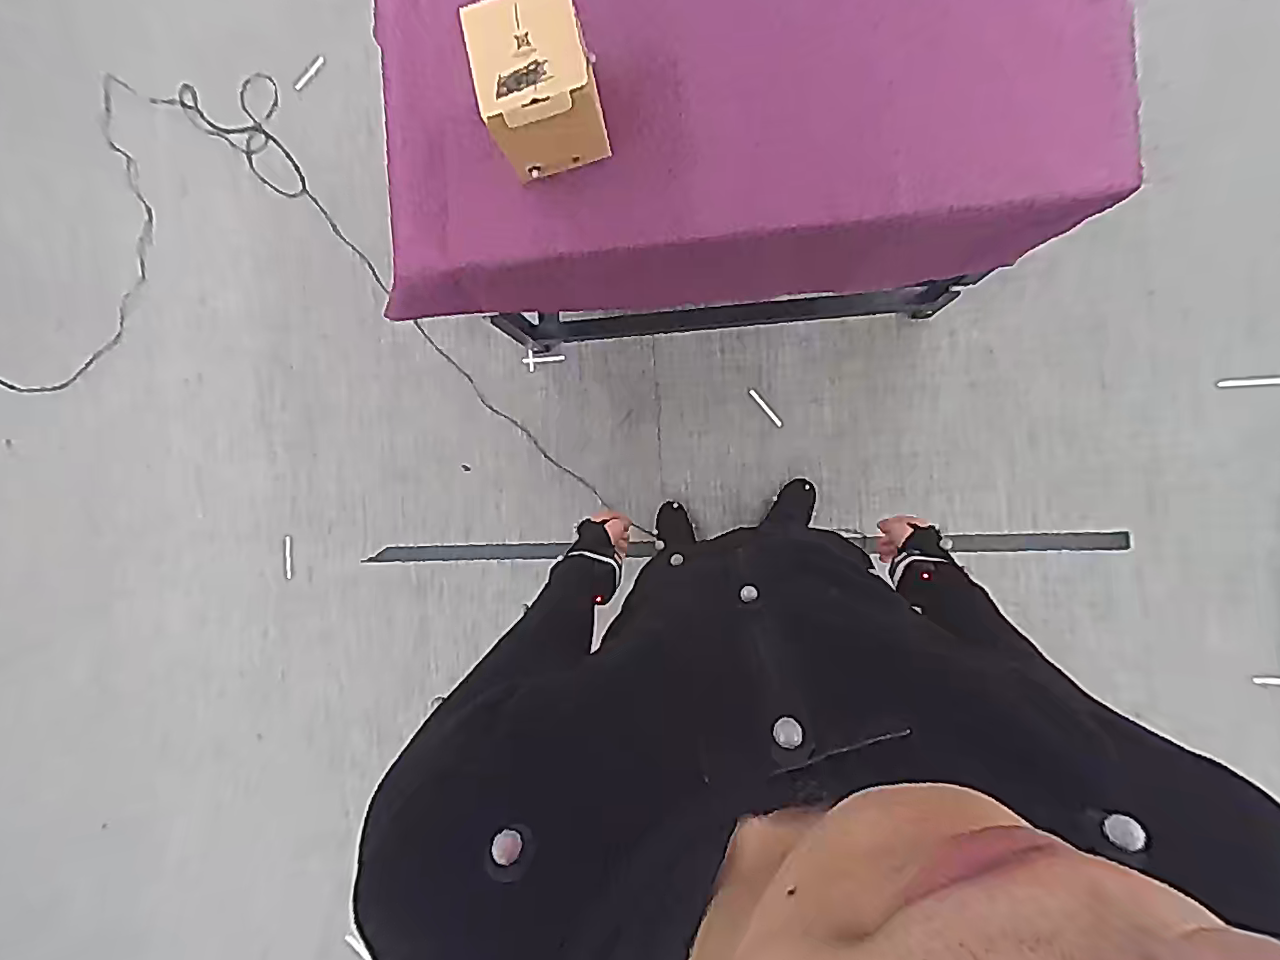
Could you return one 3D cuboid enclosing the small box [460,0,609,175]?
[{"bbox_3d":[-0.154,-0.613,0.849,0.168,0.176,0.179,-13,88,7],"label":"small box"}]
